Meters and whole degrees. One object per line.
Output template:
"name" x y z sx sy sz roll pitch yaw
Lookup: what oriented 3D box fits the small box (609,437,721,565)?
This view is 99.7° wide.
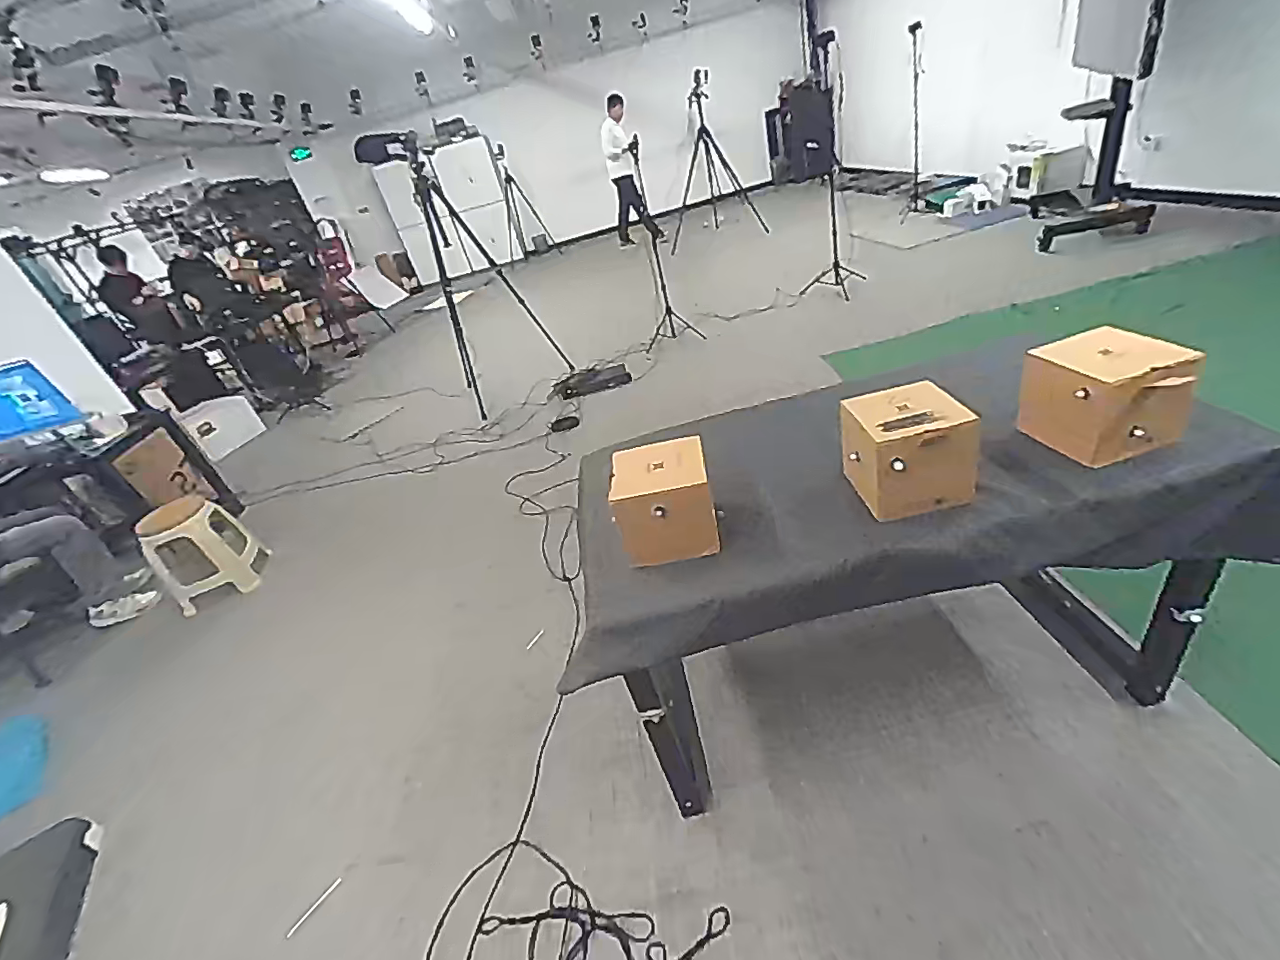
"small box" 0.049 0.043 1.030 0.179 0.176 0.168 -10 33 7

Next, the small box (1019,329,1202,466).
"small box" 0.826 -0.150 0.975 0.168 0.176 0.179 -18 32 -2
